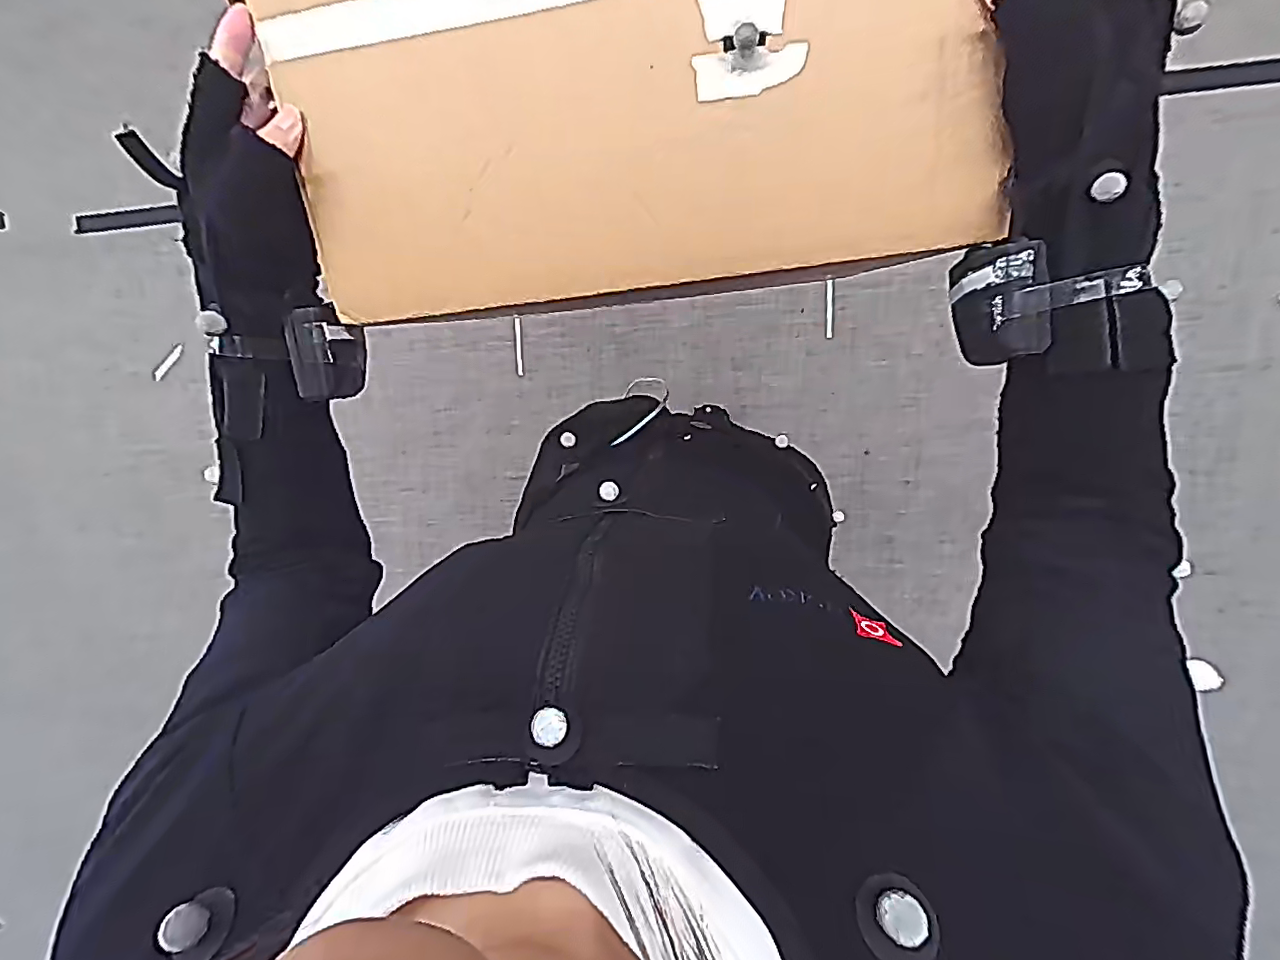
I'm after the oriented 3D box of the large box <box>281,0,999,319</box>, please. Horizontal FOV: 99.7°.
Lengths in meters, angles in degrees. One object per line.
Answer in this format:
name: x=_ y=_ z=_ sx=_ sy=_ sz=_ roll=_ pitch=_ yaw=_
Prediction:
large box: x=0.001 y=-0.318 z=0.438 sx=0.408 sy=0.320 sz=0.320 roll=-5 pitch=108 yaw=7
